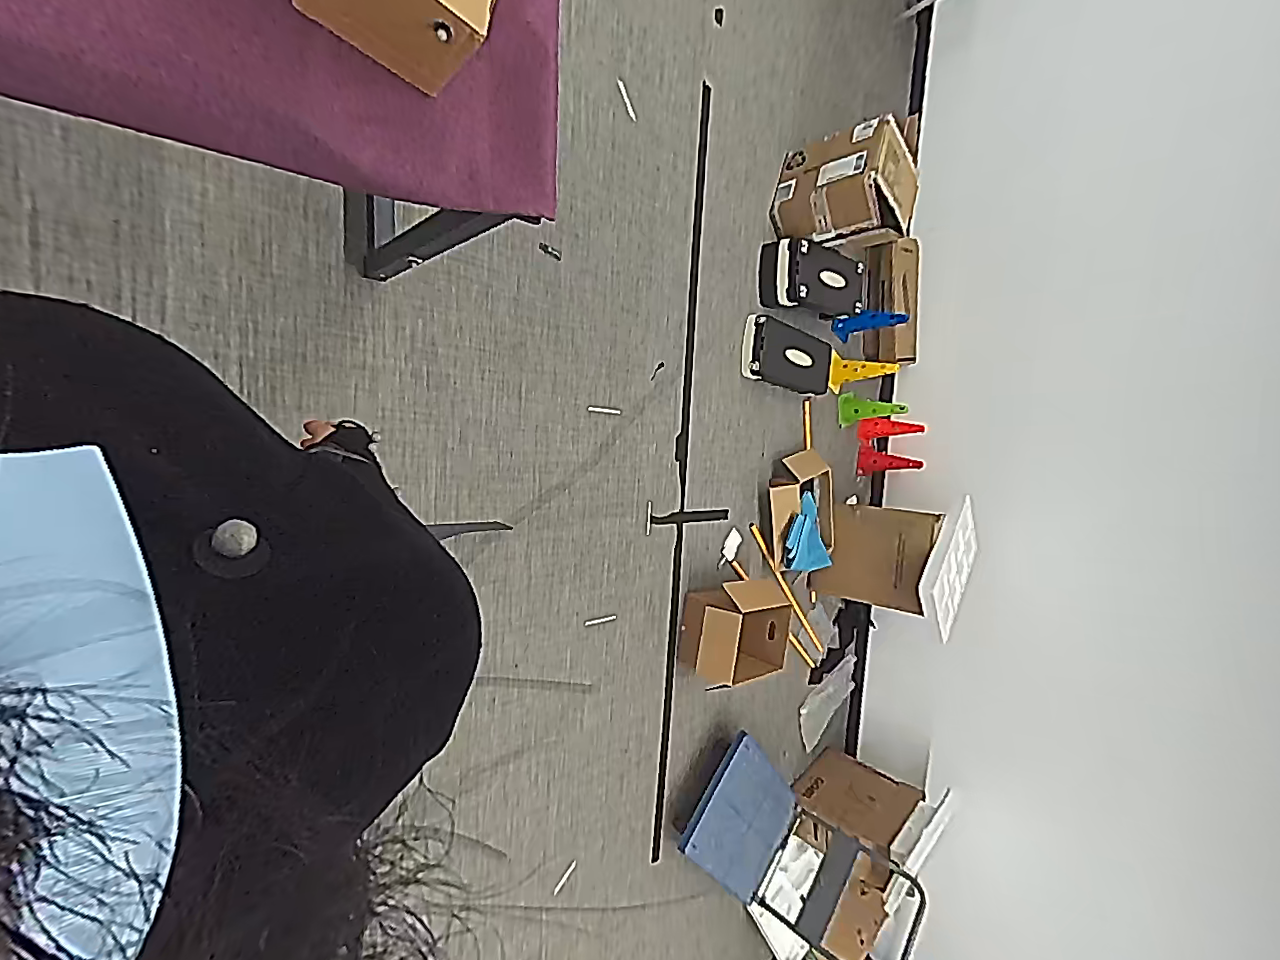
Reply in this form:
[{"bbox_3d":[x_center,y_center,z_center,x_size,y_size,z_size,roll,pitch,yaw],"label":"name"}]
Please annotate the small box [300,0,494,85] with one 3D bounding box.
[{"bbox_3d":[-0.282,-0.621,0.639,0.179,0.176,0.168,12,88,-44],"label":"small box"}]
